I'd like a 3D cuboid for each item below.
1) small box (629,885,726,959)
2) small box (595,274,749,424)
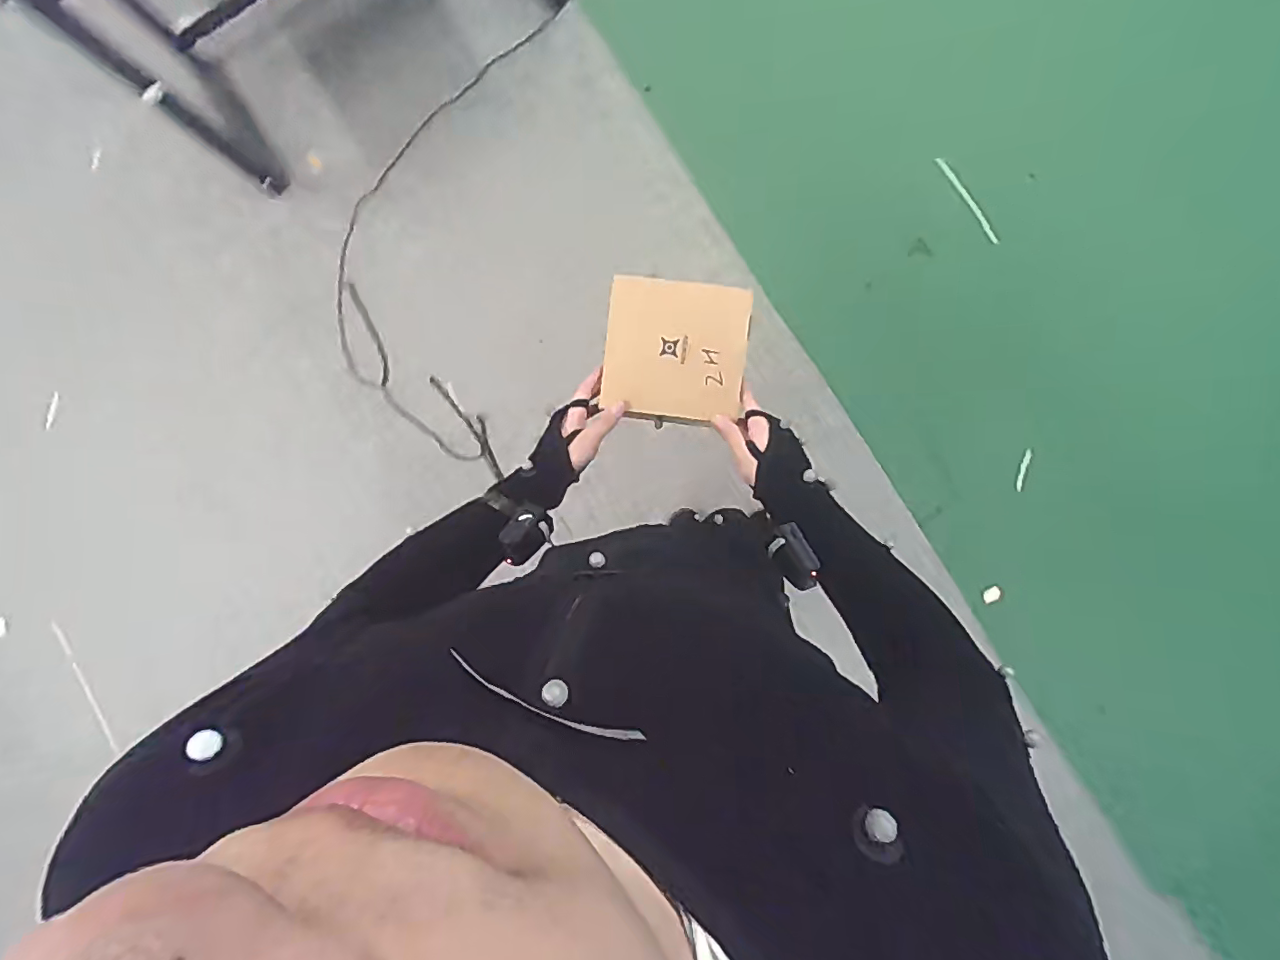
[{"bbox_3d":[0.087,1.037,1.180,0.179,0.176,0.168,-20,84,4],"label":"small box"},{"bbox_3d":[0.041,-0.168,0.743,0.179,0.176,0.168,6,95,1],"label":"small box"}]
